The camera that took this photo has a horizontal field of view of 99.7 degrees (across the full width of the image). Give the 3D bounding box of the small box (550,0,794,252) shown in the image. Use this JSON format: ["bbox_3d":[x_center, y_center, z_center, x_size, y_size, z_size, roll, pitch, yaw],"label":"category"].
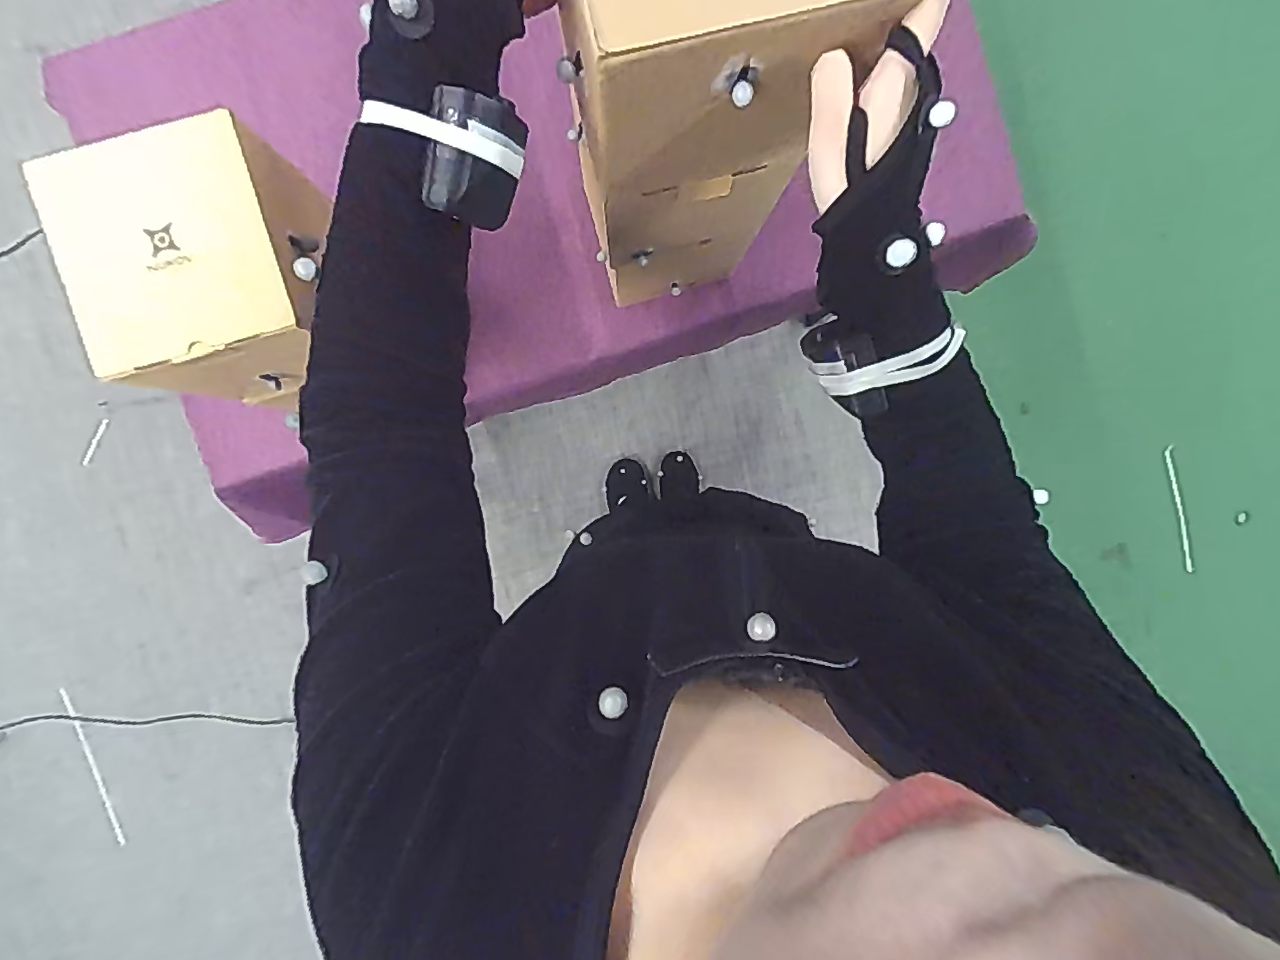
[{"bbox_3d":[0.025,-0.331,0.501,0.168,0.176,0.179,-13,93,0],"label":"small box"}]

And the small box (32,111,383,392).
[{"bbox_3d":[-0.377,-0.193,0.509,0.168,0.176,0.179,-16,95,0],"label":"small box"}]
